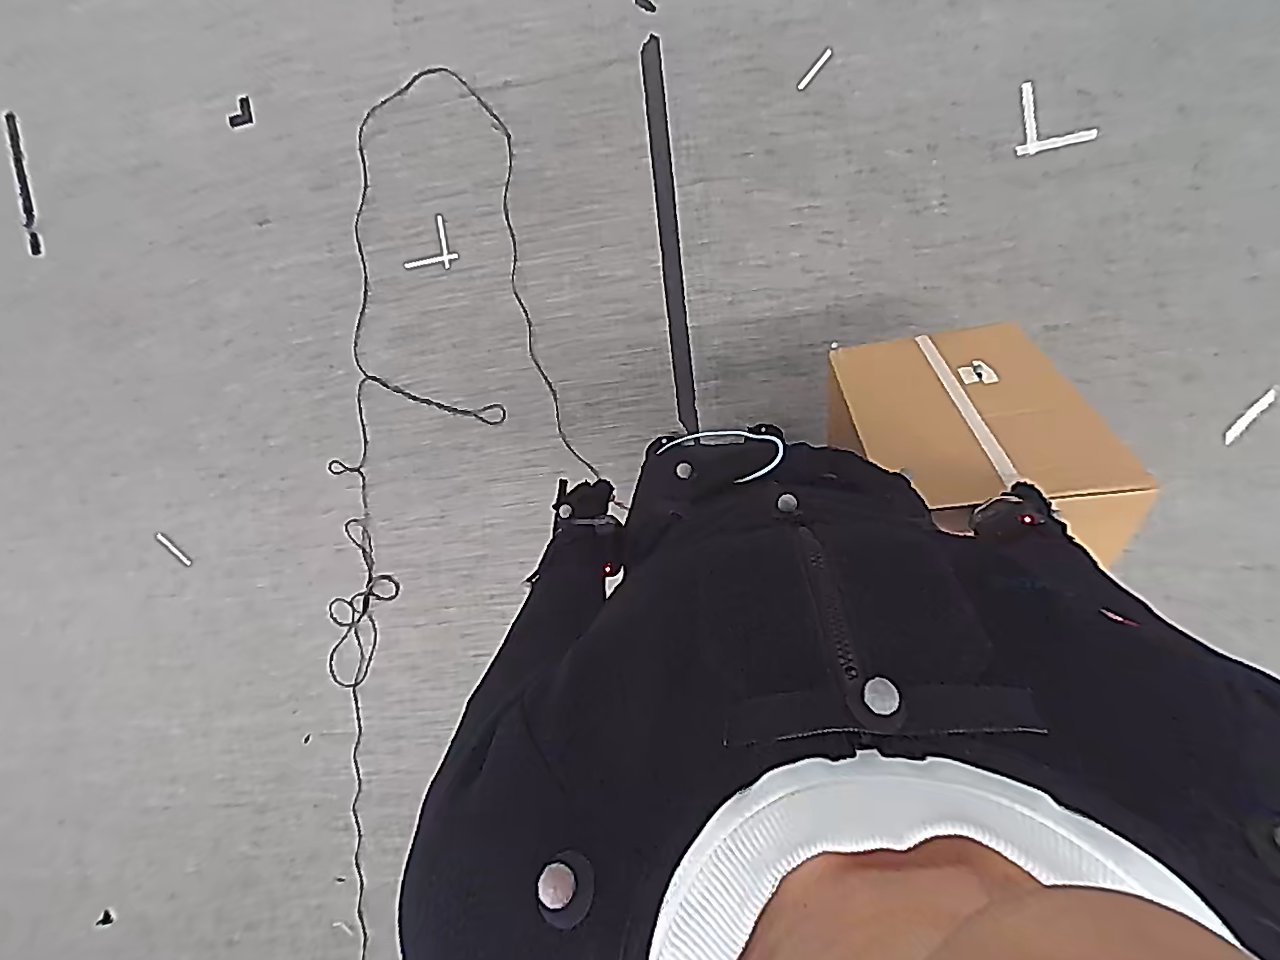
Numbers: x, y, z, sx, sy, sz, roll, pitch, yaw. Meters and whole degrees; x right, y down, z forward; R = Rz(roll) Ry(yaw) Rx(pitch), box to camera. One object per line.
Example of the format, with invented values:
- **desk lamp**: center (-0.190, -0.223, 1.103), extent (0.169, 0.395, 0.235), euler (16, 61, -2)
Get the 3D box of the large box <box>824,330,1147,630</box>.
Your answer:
- **large box**: center (0.519, -0.003, 0.934), extent (0.320, 0.408, 0.320), euler (-6, 133, 9)
